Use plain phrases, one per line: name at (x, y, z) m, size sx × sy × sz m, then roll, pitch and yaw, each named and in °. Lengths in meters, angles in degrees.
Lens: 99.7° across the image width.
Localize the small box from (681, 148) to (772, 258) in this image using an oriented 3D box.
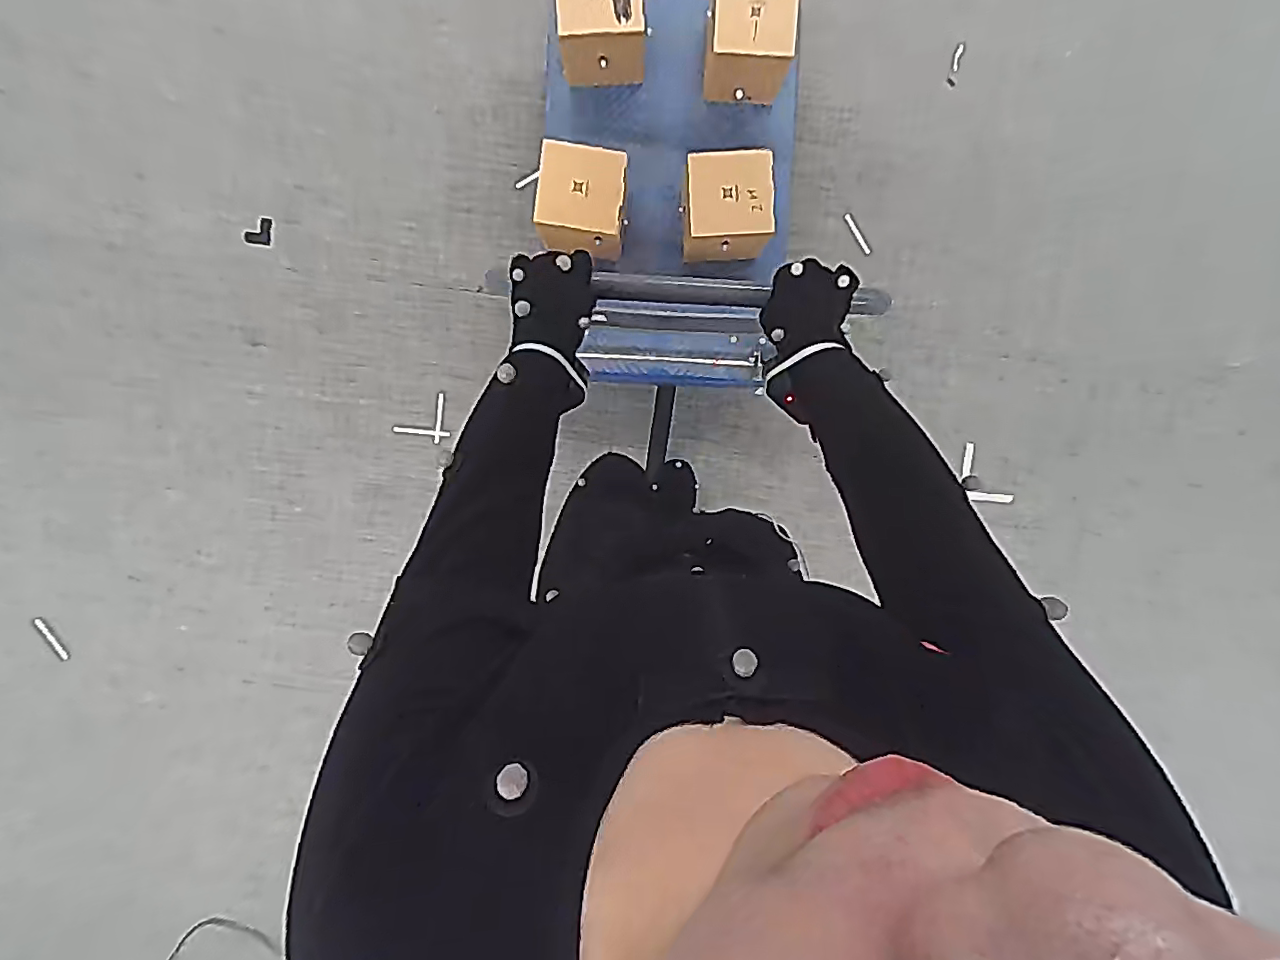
small box at (0.182, -0.597, 1.185) m, size 0.179 × 0.176 × 0.168 m, roll -3°, pitch 95°, yaw 0°

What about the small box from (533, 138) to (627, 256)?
small box at (-0.125, -0.608, 1.181) m, size 0.179 × 0.176 × 0.168 m, roll 8°, pitch 95°, yaw -3°

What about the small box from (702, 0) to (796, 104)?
small box at (0.227, -0.948, 1.154) m, size 0.168 × 0.176 × 0.179 m, roll 3°, pitch 96°, yaw -1°
